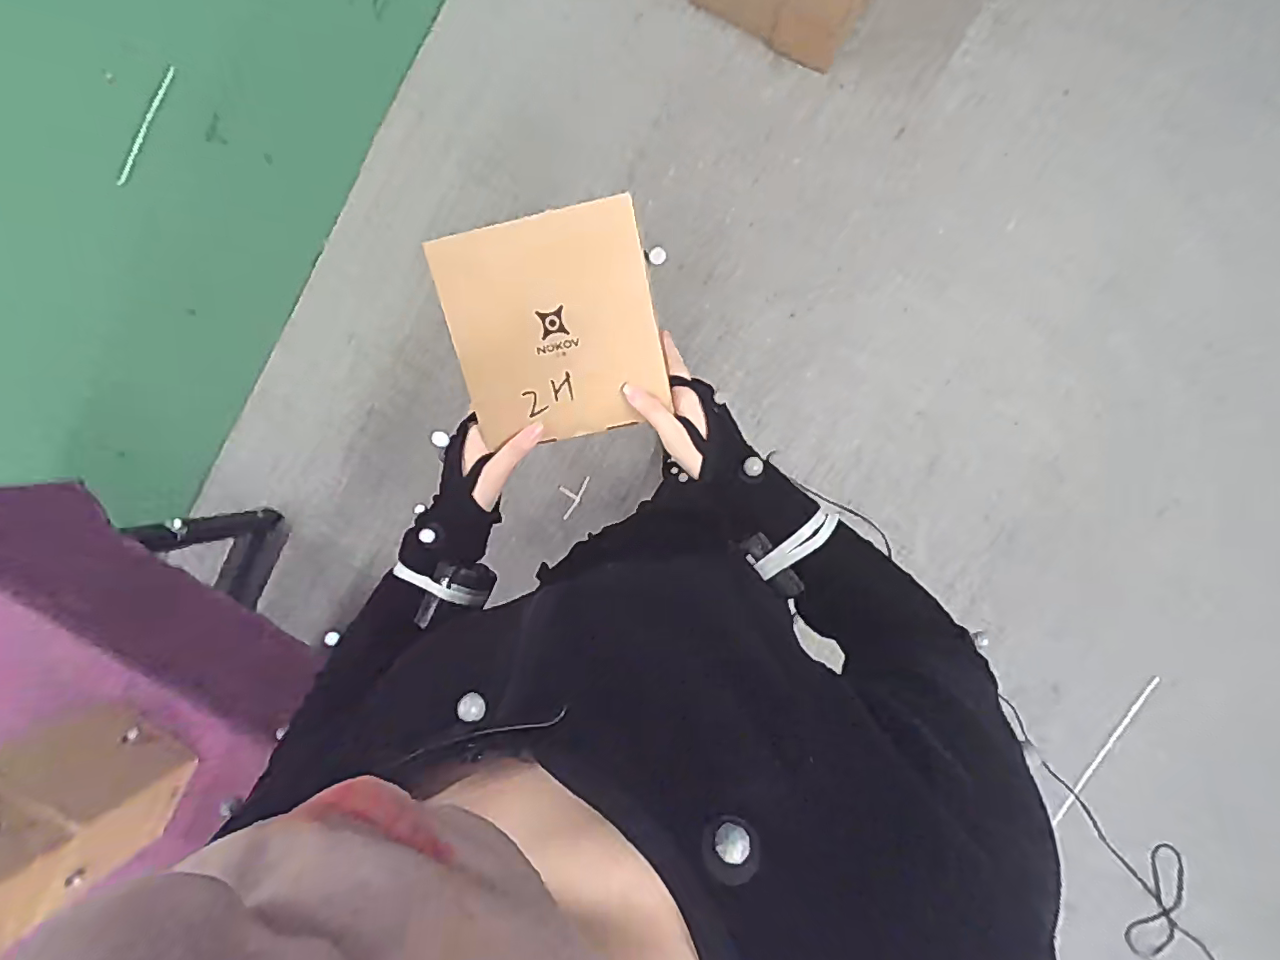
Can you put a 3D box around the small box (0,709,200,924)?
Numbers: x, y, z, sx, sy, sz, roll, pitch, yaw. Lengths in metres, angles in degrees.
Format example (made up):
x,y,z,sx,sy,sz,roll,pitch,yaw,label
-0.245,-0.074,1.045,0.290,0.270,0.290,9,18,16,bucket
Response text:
x,y,z,sx,sy,sz,roll,pitch,yaw,label
-0.809,0.466,0.784,0.179,0.176,0.168,30,97,4,small box

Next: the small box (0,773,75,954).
x,y,z,sx,sy,sz,roll,pitch,yaw,label
-0.829,0.486,0.623,0.168,0.176,0.179,31,95,3,small box

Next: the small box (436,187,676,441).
x,y,z,sx,sy,sz,roll,pitch,yaw,label
-0.063,-0.152,0.513,0.168,0.176,0.179,-10,109,5,small box
